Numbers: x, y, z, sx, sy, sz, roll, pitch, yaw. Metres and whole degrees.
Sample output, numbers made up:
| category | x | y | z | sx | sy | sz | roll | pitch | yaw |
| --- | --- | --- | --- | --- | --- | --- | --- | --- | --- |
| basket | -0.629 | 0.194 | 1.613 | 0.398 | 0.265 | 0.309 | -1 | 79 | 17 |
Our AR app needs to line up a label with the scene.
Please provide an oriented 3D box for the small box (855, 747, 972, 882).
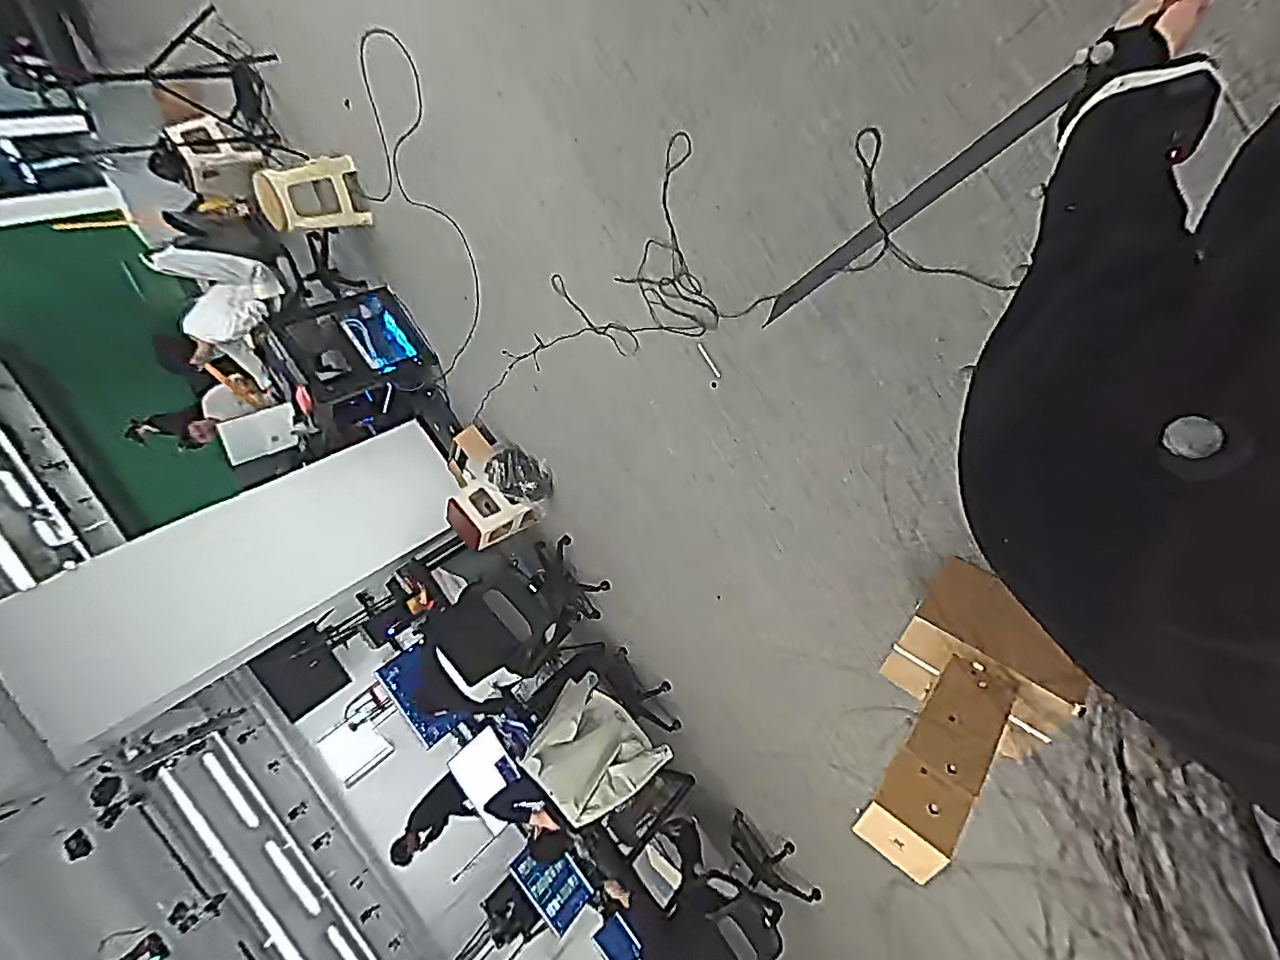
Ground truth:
| category | x | y | z | sx | sy | sz | roll | pitch | yaw |
| --- | --- | --- | --- | --- | --- | --- | --- | --- | --- |
| small box | 0.619 | 0.747 | 1.222 | 0.168 | 0.176 | 0.179 | 30 | 138 | 31 |

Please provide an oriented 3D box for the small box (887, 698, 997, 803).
| category | x | y | z | sx | sy | sz | roll | pitch | yaw |
| --- | --- | --- | --- | --- | --- | --- | --- | --- | --- |
| small box | 0.732 | 0.675 | 1.315 | 0.168 | 0.176 | 0.179 | 31 | 139 | 31 |

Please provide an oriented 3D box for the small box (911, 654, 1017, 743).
| category | x | y | z | sx | sy | sz | roll | pitch | yaw |
| --- | --- | --- | --- | --- | --- | --- | --- | --- | --- |
| small box | 0.843 | 0.596 | 1.406 | 0.168 | 0.176 | 0.179 | 31 | 138 | 31 |
